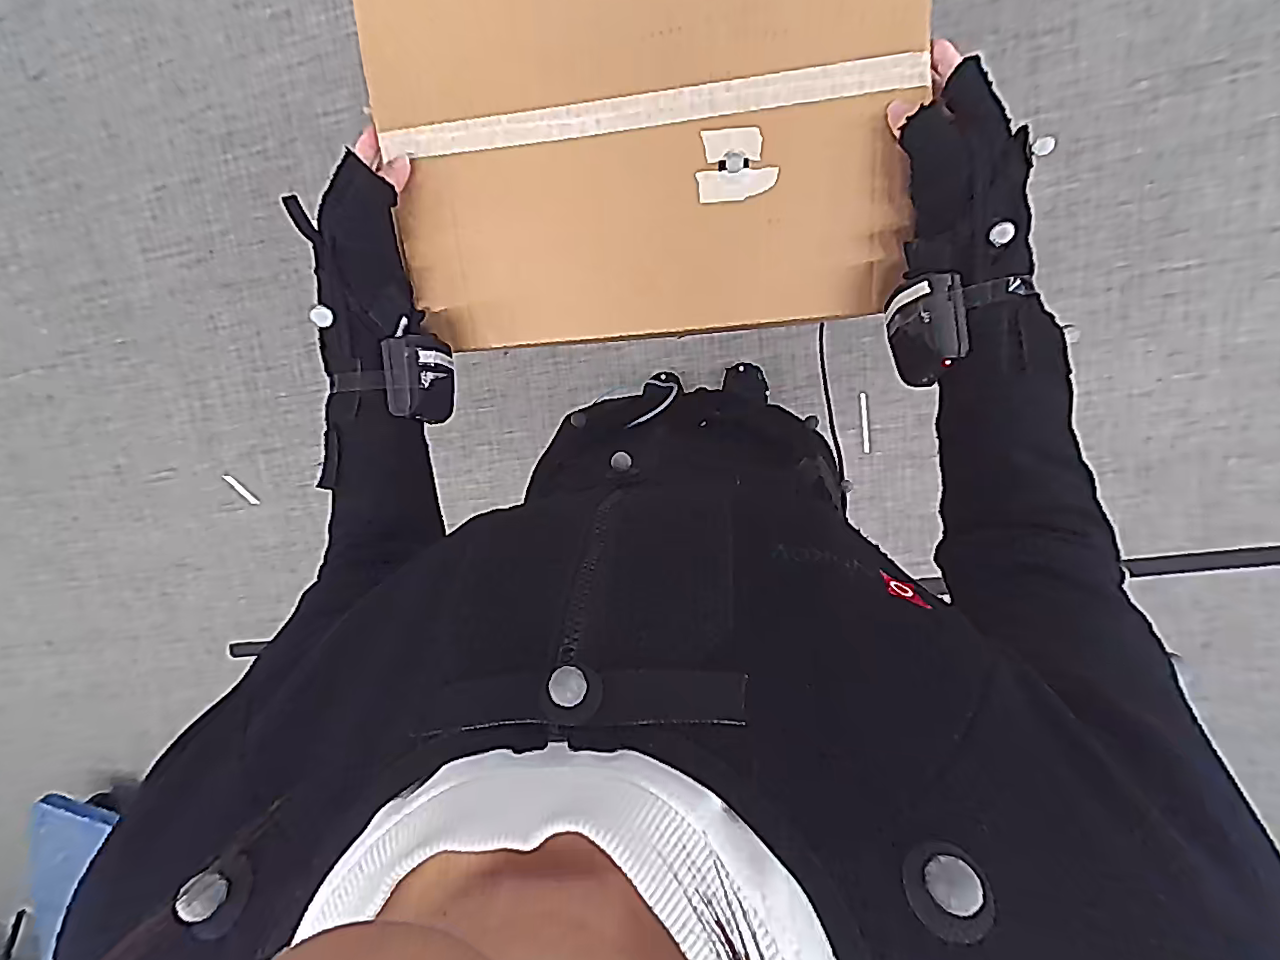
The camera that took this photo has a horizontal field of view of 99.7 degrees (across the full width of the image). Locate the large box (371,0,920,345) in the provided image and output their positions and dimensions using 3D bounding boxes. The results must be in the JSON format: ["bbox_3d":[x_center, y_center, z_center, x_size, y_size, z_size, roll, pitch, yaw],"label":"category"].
[{"bbox_3d":[0.014,-0.317,0.553,0.408,0.320,0.320,-4,105,6],"label":"large box"}]
